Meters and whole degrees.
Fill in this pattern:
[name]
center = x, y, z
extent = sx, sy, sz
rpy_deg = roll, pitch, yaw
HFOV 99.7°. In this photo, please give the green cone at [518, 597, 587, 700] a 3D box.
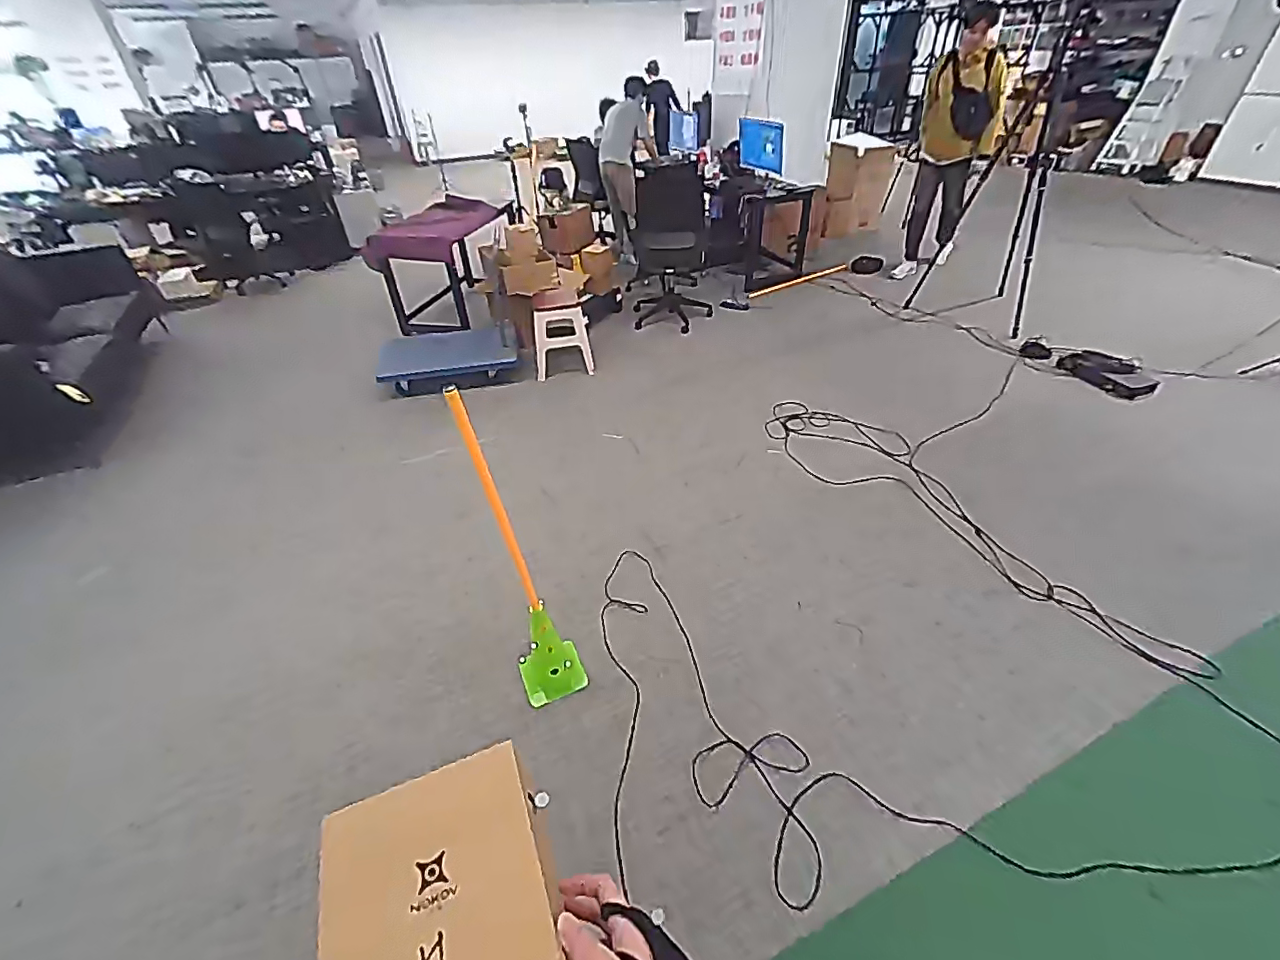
[green cone]
center = -0.307, 0.515, 1.763
extent = 0.202, 0.368, 0.200
rpy_deg = -17, 41, -19
